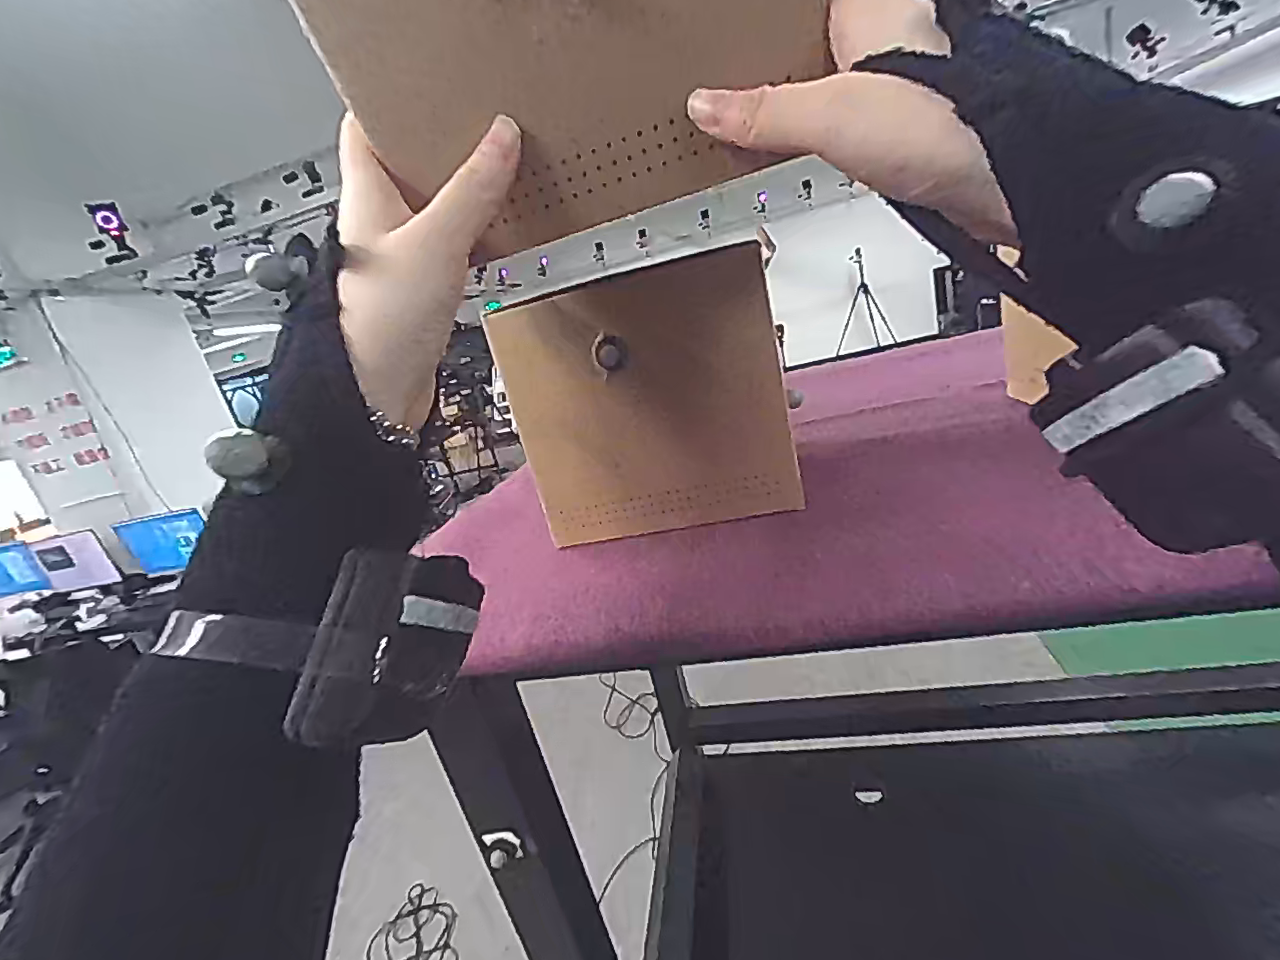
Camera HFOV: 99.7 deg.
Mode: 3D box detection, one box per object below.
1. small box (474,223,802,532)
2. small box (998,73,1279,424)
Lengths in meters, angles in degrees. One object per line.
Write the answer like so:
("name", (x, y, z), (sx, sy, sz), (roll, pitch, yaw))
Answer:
("small box", (0.012, -0.073, 0.406), (0.179, 0.176, 0.168), (-10, 19, 13))
("small box", (0.363, -0.141, 0.344), (0.179, 0.176, 0.168), (-10, 16, 13))
